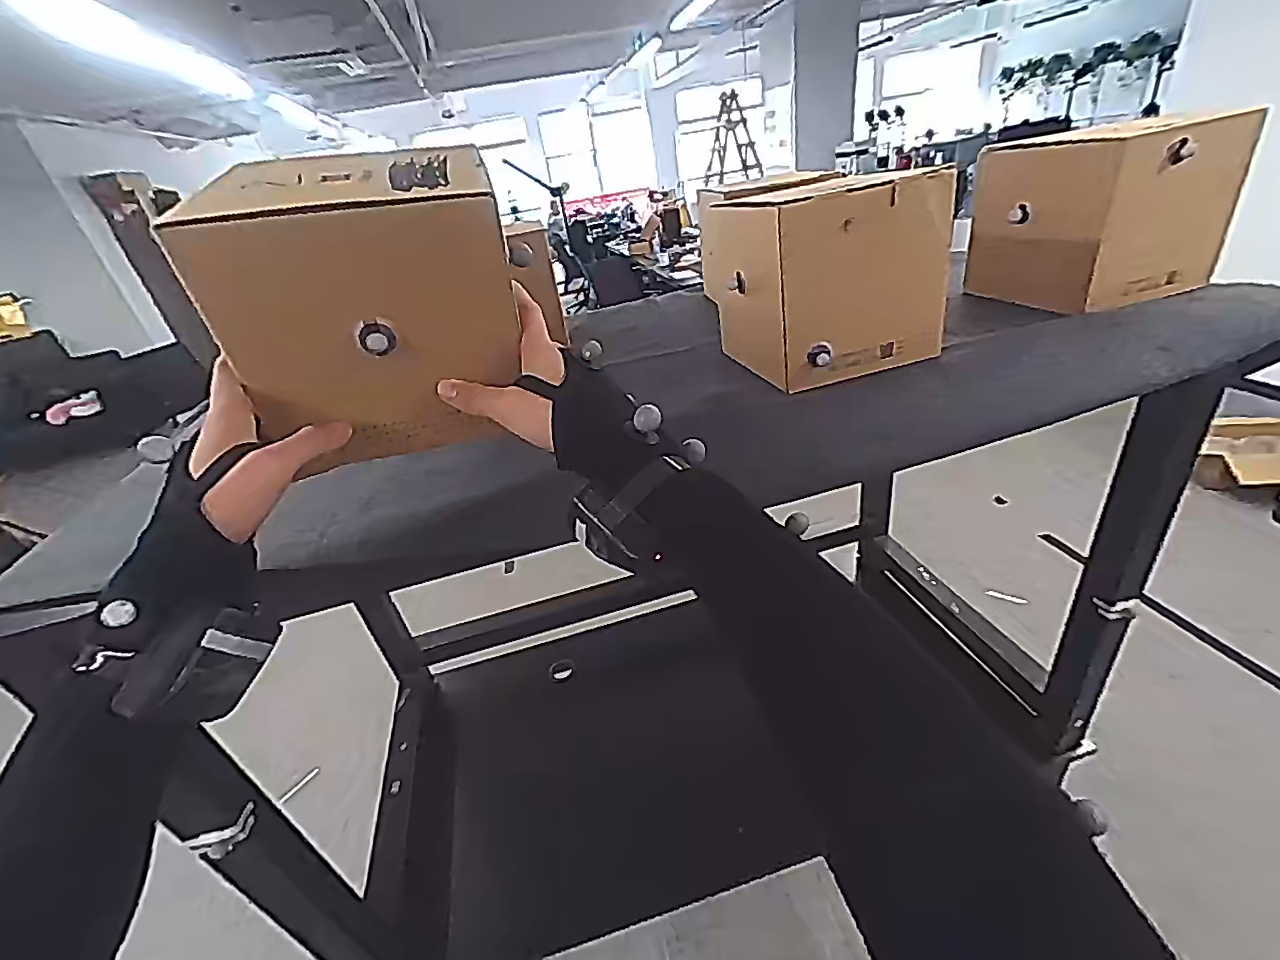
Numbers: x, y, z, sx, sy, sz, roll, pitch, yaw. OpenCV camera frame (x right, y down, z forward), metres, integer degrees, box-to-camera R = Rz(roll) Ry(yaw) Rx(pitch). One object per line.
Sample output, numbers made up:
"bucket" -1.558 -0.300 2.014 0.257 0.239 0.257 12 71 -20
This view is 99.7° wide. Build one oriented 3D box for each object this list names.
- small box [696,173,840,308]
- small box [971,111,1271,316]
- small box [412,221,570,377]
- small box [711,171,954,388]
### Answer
"small box" 0.191 -0.361 0.830 0.168 0.176 0.179 -11 30 -3
"small box" 0.511 -0.293 0.610 0.168 0.176 0.179 -16 30 -7
"small box" -0.203 -0.255 0.765 0.168 0.176 0.179 -14 31 -9
"small box" 0.186 -0.204 0.558 0.168 0.176 0.179 -15 28 -7
